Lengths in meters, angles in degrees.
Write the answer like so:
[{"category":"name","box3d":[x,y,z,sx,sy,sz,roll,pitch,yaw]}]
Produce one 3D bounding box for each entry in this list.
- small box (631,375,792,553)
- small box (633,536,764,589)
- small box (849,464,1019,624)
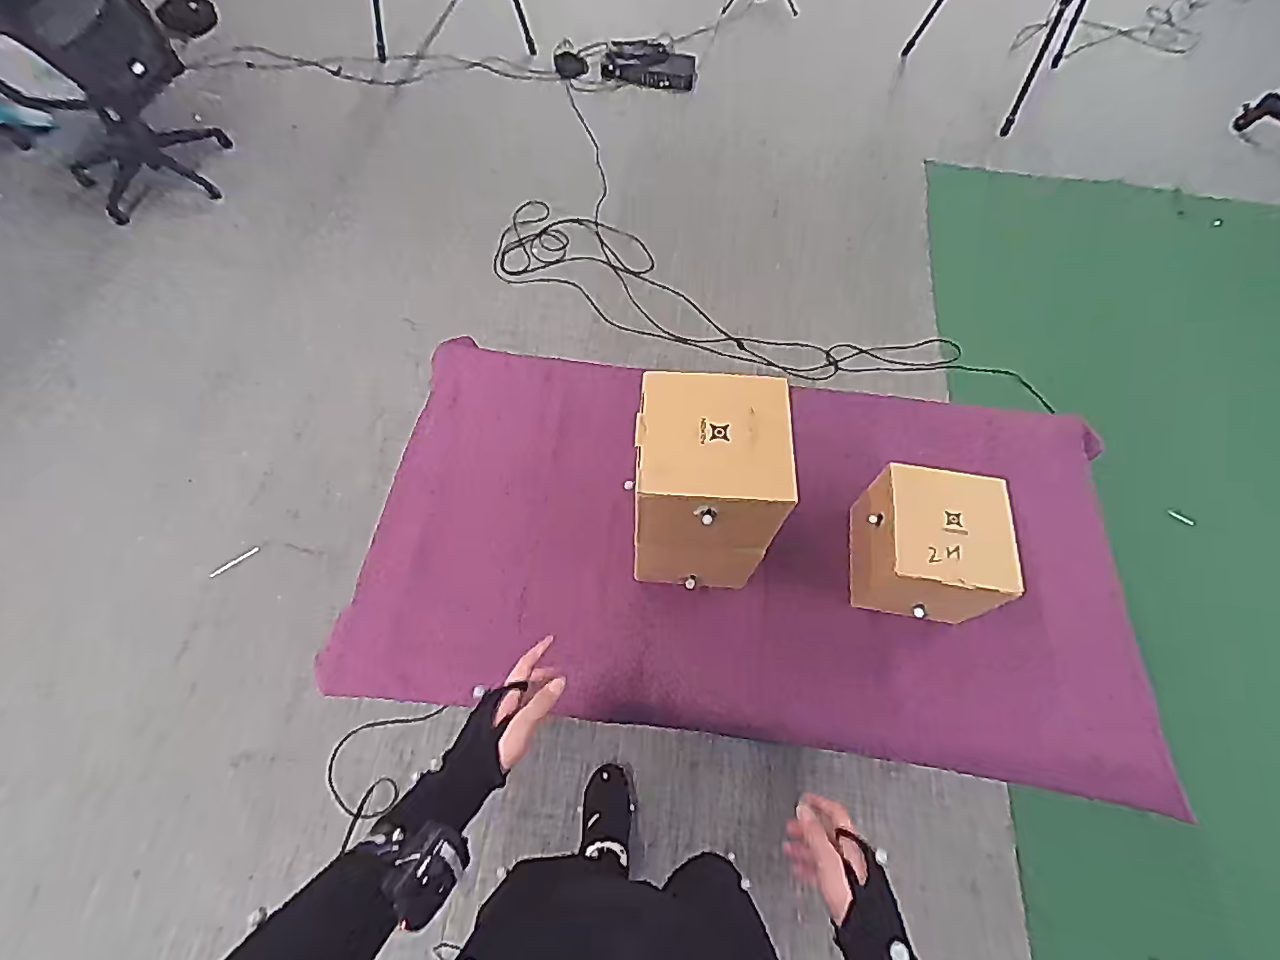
[{"category":"small box","box3d":[0.082,-0.014,0.684,0.179,0.176,0.168,3,63,1]},{"category":"small box","box3d":[0.083,0.062,0.829,0.179,0.176,0.168,4,62,1]},{"category":"small box","box3d":[0.425,0.101,0.815,0.168,0.176,0.179,9,62,4]}]
